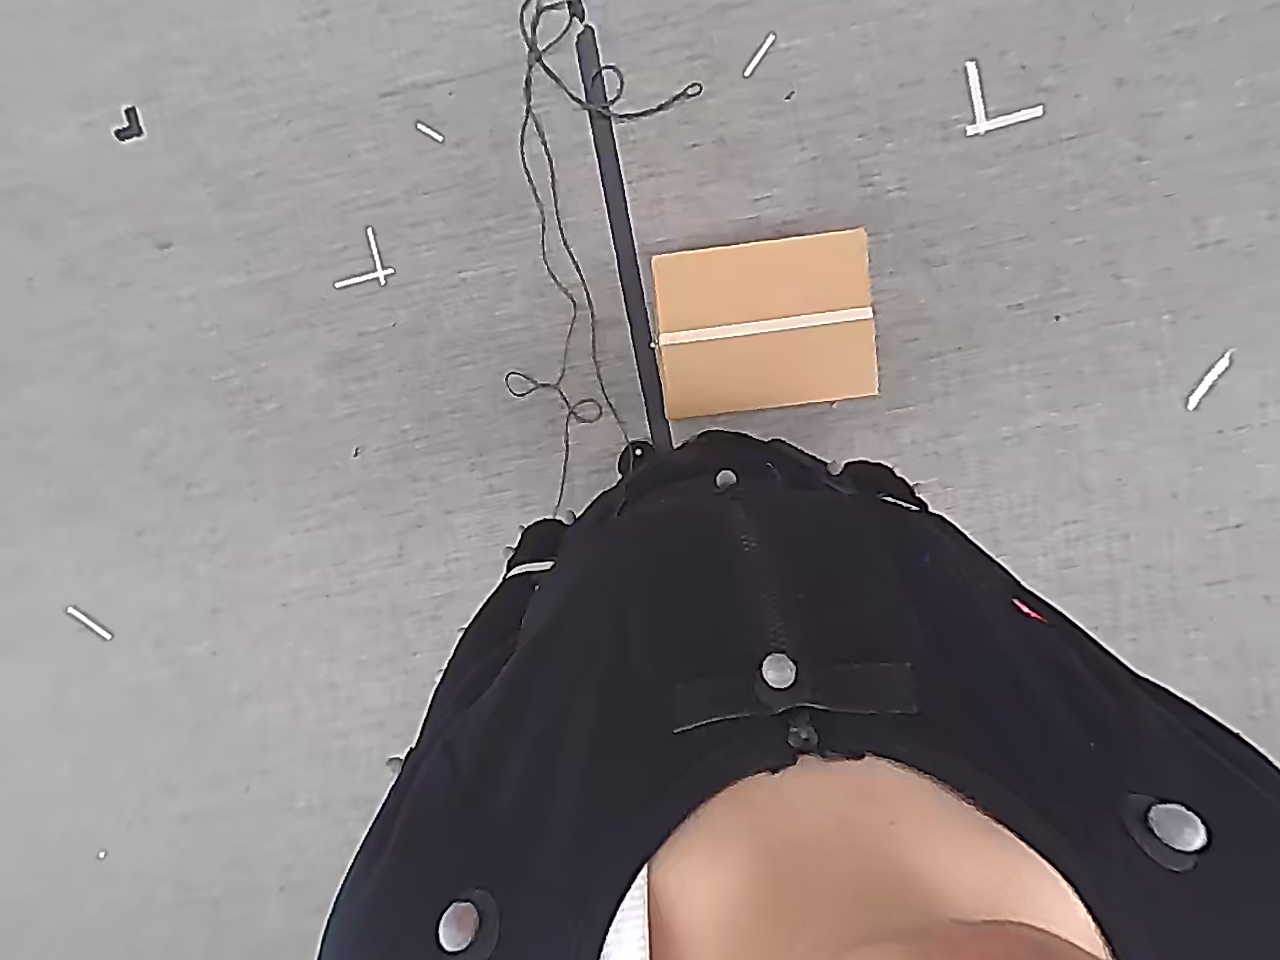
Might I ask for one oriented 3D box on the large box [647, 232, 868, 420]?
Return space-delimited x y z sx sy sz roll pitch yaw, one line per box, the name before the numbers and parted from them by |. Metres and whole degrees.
large box | 0.234 -0.310 1.187 0.408 0.320 0.320 -7 95 2
